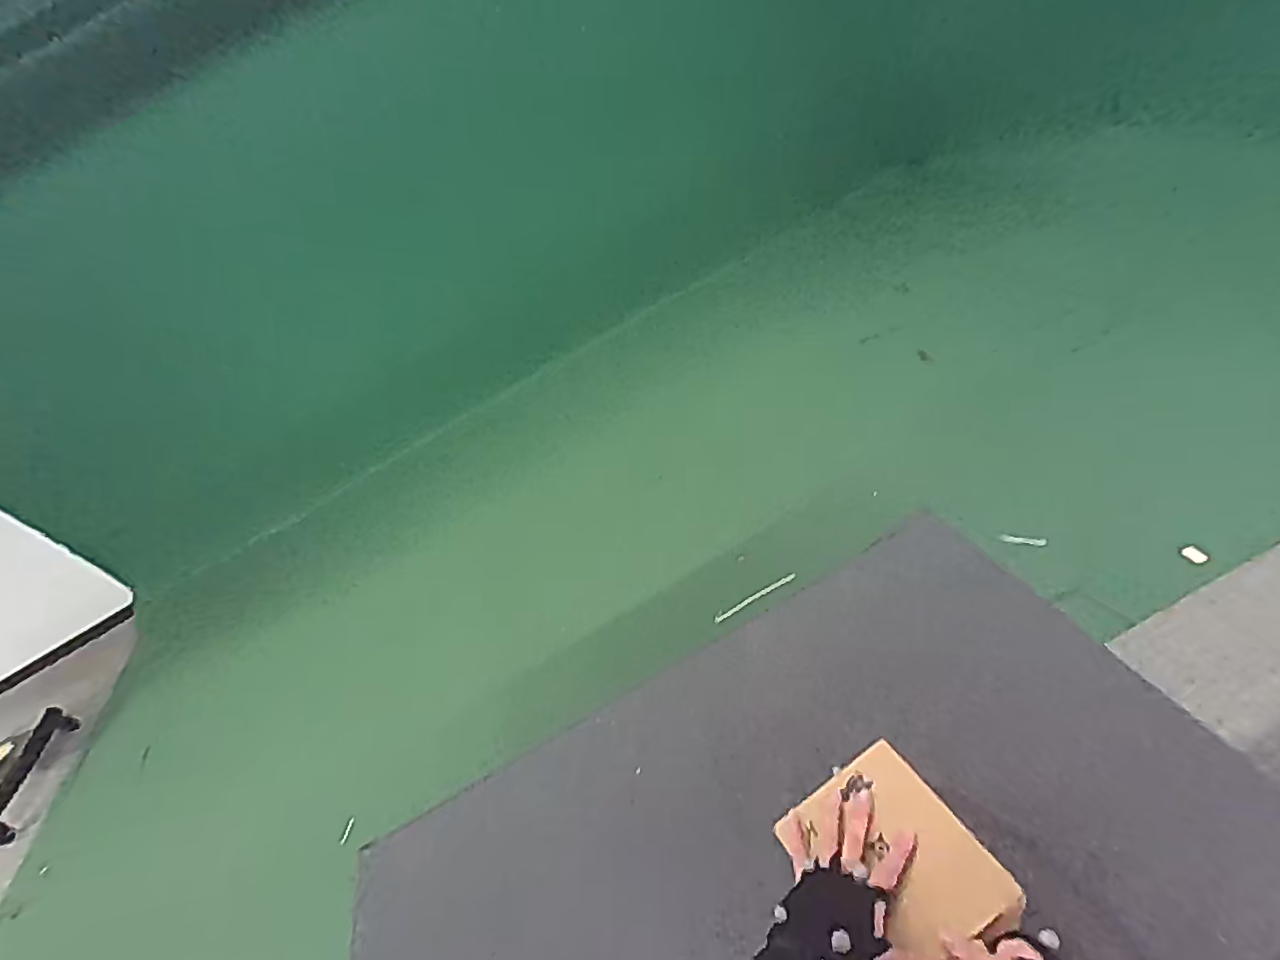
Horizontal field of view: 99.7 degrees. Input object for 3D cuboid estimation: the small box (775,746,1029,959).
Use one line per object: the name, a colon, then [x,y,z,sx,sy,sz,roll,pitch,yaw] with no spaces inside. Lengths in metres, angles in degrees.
small box: [0.282,0.443,0.596,0.168,0.176,0.179,-34,39,-7]
